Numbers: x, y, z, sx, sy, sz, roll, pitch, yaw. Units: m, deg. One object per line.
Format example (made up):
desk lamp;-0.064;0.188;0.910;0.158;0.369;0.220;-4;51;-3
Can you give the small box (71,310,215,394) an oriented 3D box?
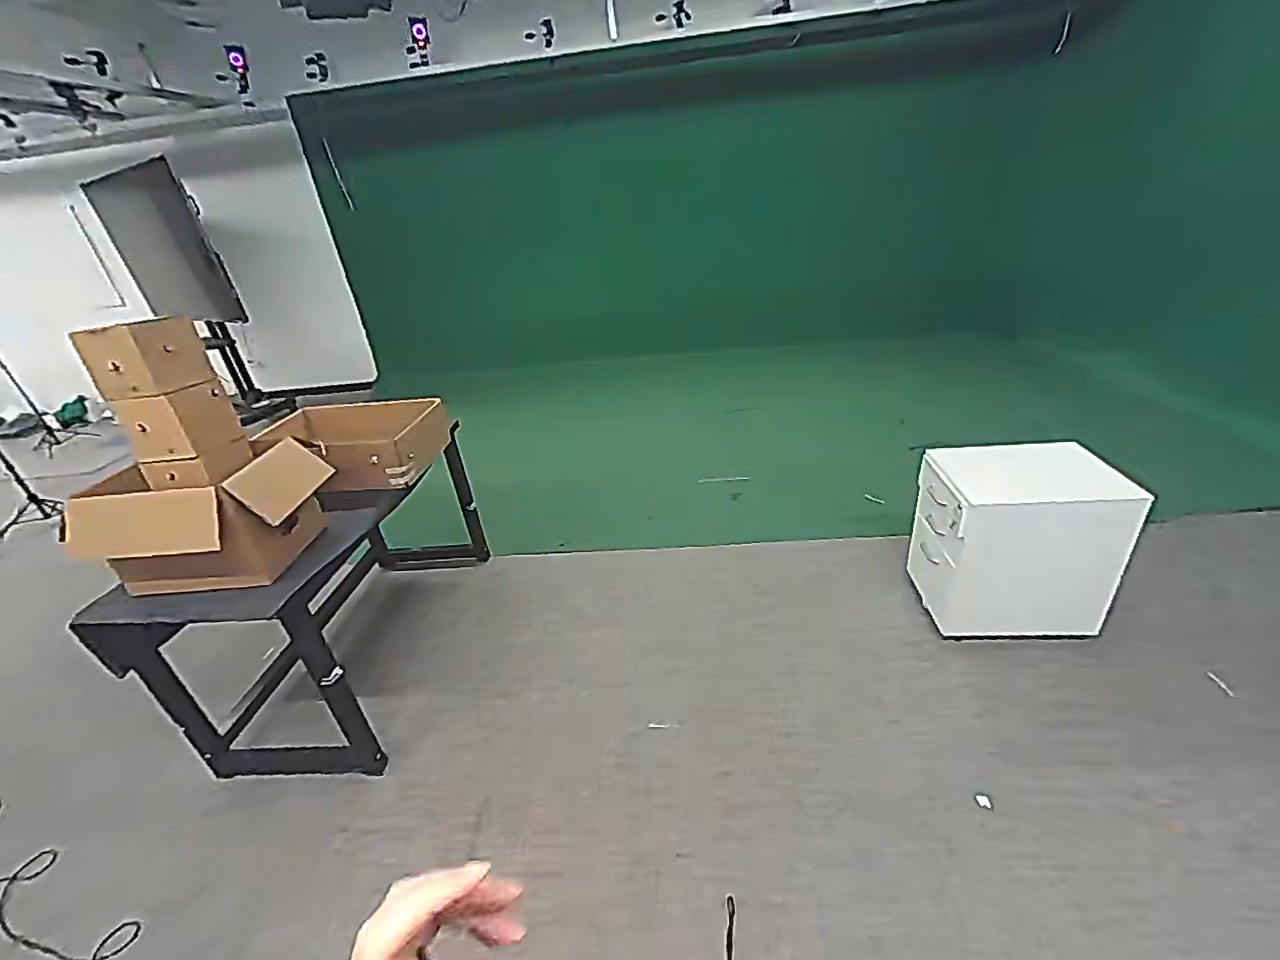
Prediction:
small box;-1.223;-0.316;1.349;0.168;0.176;0.179;-4;25;8

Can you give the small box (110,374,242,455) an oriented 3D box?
small box;-1.200;-0.168;1.417;0.168;0.176;0.179;-4;24;7
